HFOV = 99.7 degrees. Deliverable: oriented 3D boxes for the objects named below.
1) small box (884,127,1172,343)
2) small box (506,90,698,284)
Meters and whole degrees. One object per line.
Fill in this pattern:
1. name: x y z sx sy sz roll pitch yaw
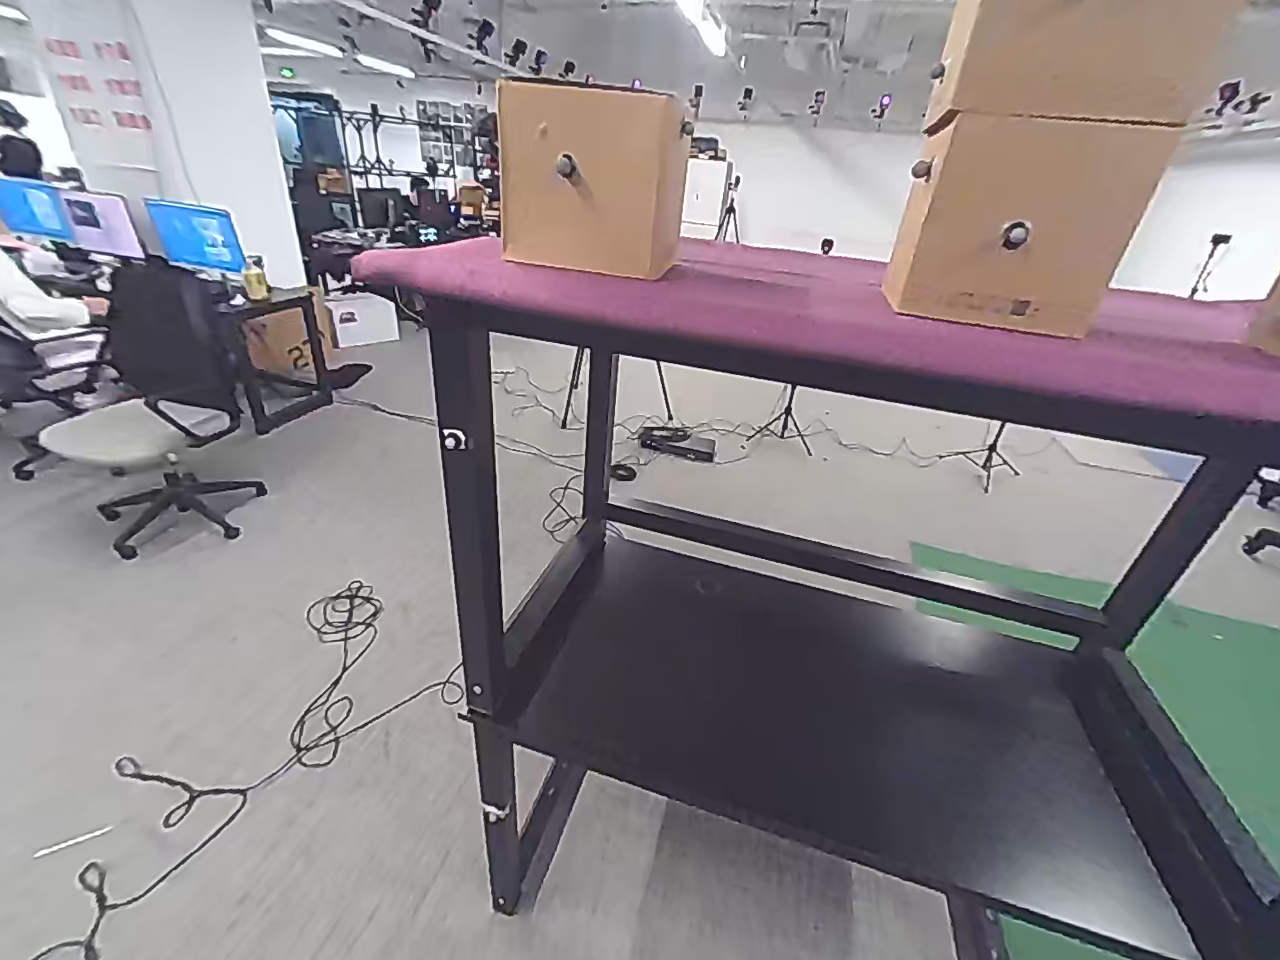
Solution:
1. small box: 0.365 -0.248 0.554 0.168 0.176 0.179 14 29 12
2. small box: -0.038 -0.329 0.622 0.179 0.176 0.168 10 30 8
